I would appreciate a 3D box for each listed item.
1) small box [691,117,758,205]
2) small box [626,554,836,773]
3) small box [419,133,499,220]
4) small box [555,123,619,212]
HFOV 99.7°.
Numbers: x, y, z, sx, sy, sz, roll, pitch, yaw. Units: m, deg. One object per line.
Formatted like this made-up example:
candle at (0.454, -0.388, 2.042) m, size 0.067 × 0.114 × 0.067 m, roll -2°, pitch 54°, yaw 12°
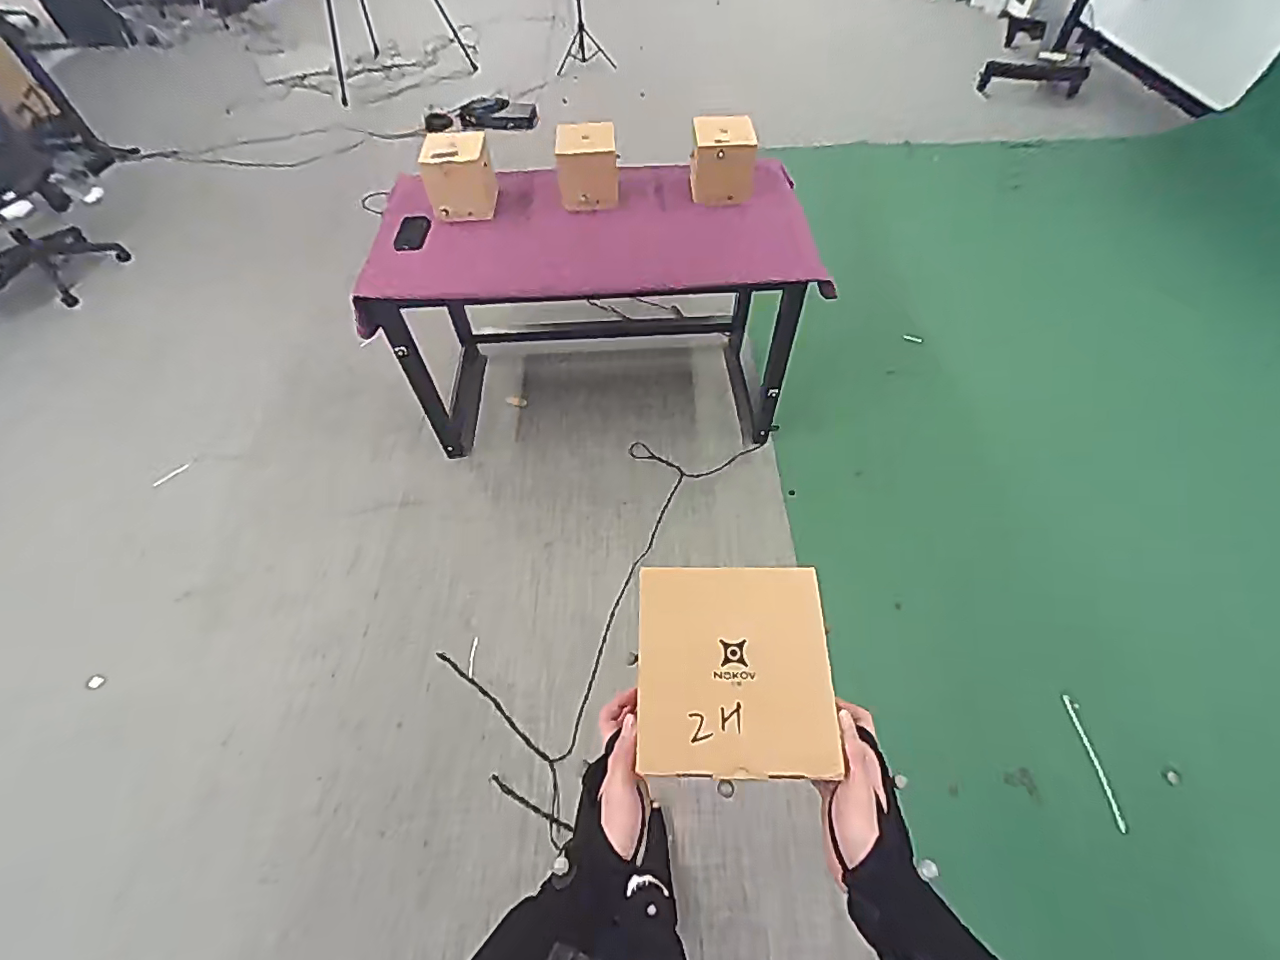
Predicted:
small box at (0.239, -0.925, 1.572) m, size 0.168 × 0.176 × 0.179 m, roll -2°, pitch 55°, yaw 1°
small box at (0.076, 0.184, 0.529) m, size 0.168 × 0.176 × 0.179 m, roll 0°, pitch 62°, yaw 3°
small box at (-0.513, -0.867, 1.556) m, size 0.168 × 0.176 × 0.179 m, roll -3°, pitch 54°, yaw -1°
small box at (-0.149, -0.907, 1.574) m, size 0.168 × 0.176 × 0.179 m, roll -4°, pitch 56°, yaw 0°
